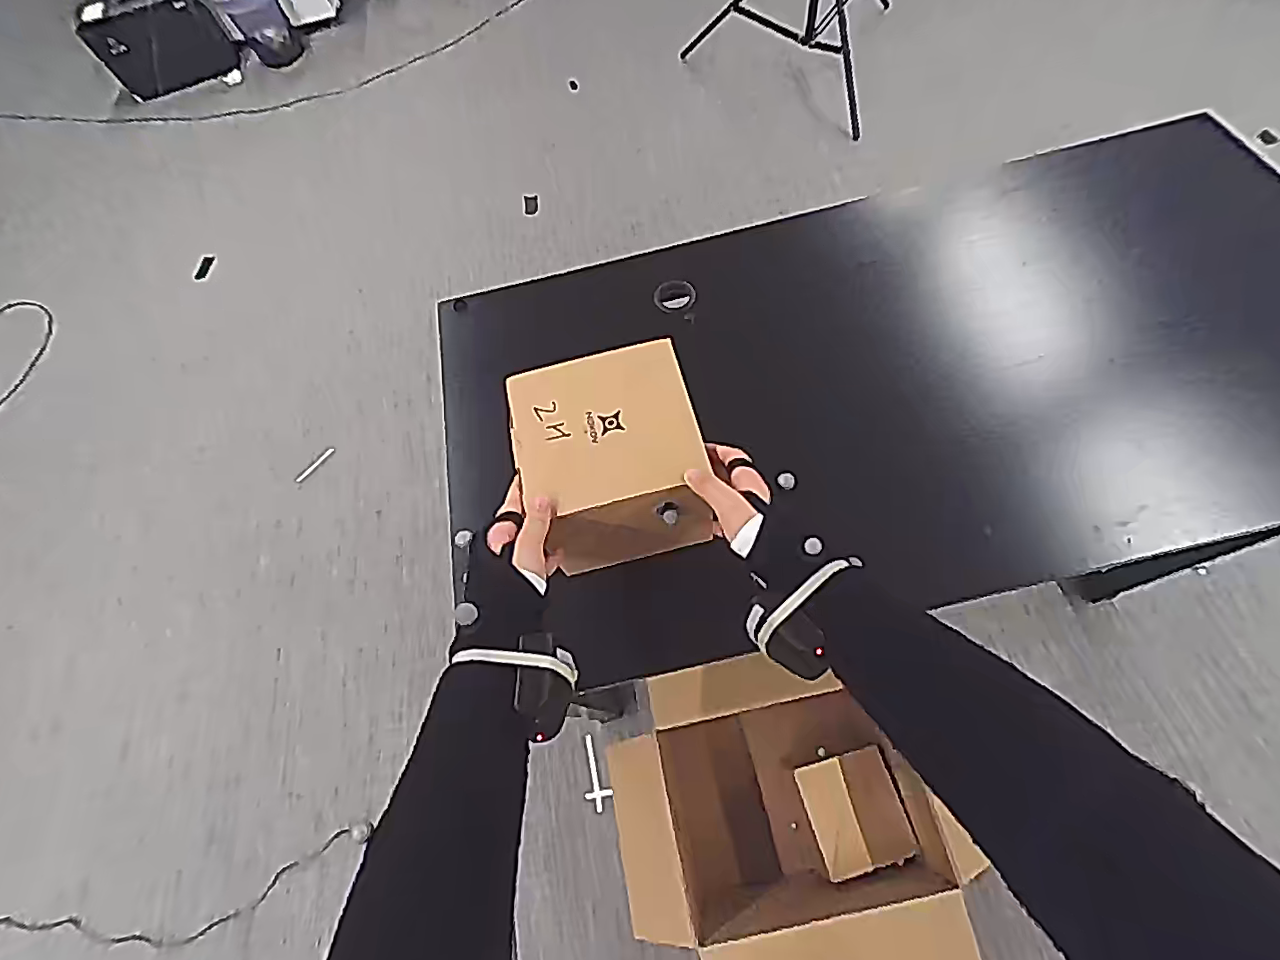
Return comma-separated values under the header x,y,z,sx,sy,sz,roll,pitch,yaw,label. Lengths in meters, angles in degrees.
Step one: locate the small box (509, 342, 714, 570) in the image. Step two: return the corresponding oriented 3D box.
x,y,z,sx,sy,sz,roll,pitch,yaw,label
-0.026,-0.017,0.588,0.179,0.176,0.168,-14,63,0,small box
